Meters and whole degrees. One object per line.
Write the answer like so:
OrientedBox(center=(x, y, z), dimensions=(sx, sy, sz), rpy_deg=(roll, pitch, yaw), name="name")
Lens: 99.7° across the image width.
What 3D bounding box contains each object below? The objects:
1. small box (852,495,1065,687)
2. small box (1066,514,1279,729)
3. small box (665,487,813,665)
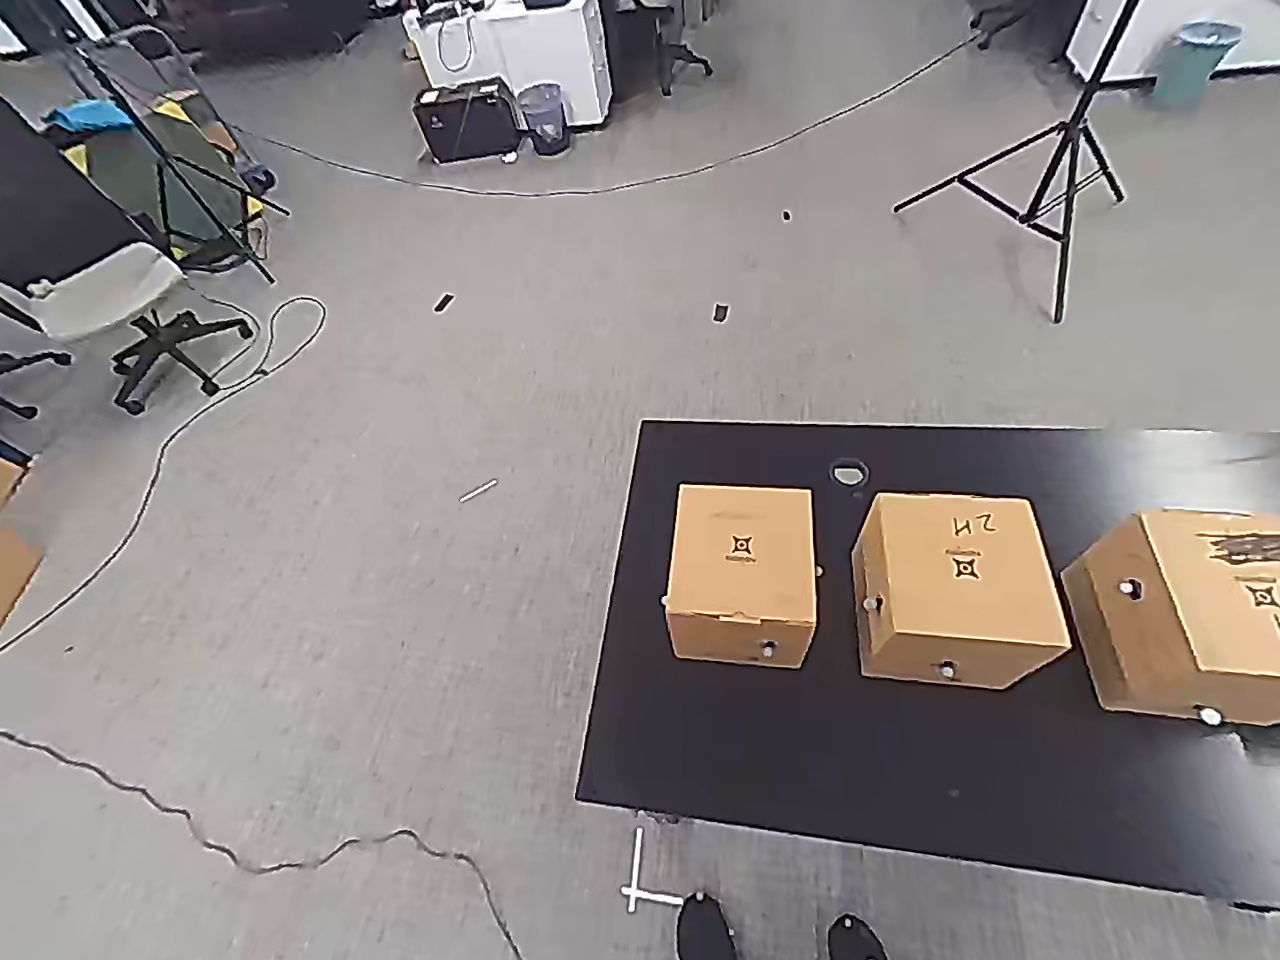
OrientedBox(center=(0.363, 0.138, 0.656), dimensions=(0.168, 0.176, 0.179), rpy_deg=(3, 56, 10), name="small box")
OrientedBox(center=(0.621, 0.159, 0.601), dimensions=(0.168, 0.176, 0.179), rpy_deg=(3, 56, 11), name="small box")
OrientedBox(center=(0.128, 0.128, 0.704), dimensions=(0.168, 0.176, 0.179), rpy_deg=(2, 55, 9), name="small box")
